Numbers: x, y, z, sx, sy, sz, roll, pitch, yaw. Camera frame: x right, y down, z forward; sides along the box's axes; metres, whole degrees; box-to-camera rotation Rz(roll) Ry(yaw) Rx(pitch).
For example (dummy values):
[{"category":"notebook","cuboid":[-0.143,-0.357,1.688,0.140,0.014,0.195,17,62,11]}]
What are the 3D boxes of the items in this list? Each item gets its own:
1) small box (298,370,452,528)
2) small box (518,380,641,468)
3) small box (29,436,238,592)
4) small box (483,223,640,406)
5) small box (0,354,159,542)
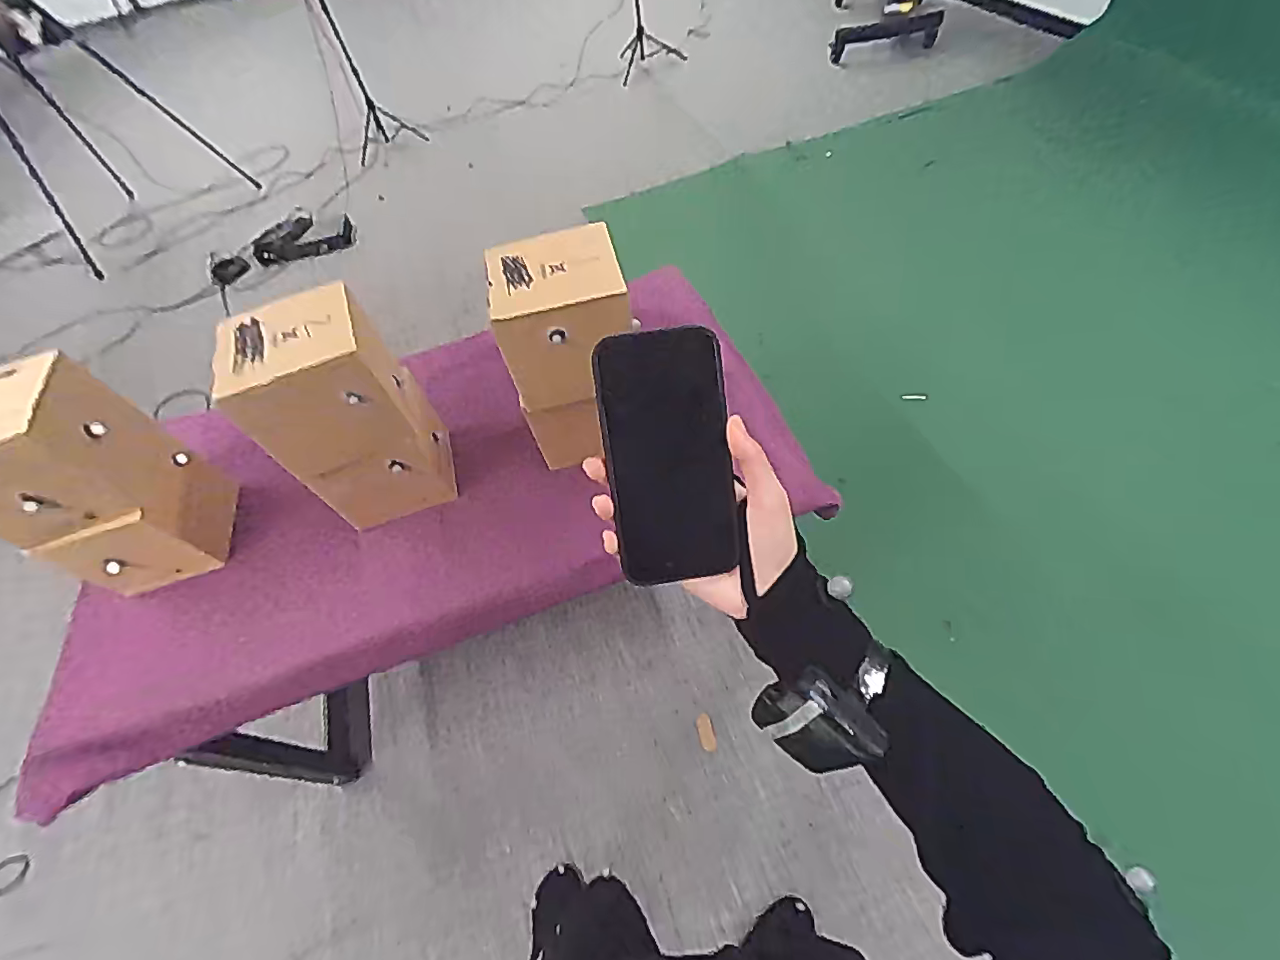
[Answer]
[{"category":"small box","cuboid":[-0.425,-0.047,0.894,0.179,0.176,0.168,-19,55,-4]},{"category":"small box","cuboid":[-0.098,-0.145,0.911,0.179,0.176,0.168,-14,54,0]},{"category":"small box","cuboid":[-0.799,0.064,0.880,0.168,0.176,0.179,-18,55,-4]},{"category":"small box","cuboid":[-0.108,-0.229,0.769,0.179,0.176,0.168,-14,54,-1]},{"category":"small box","cuboid":[-0.824,-0.035,0.750,0.168,0.176,0.179,-22,56,-7]}]
